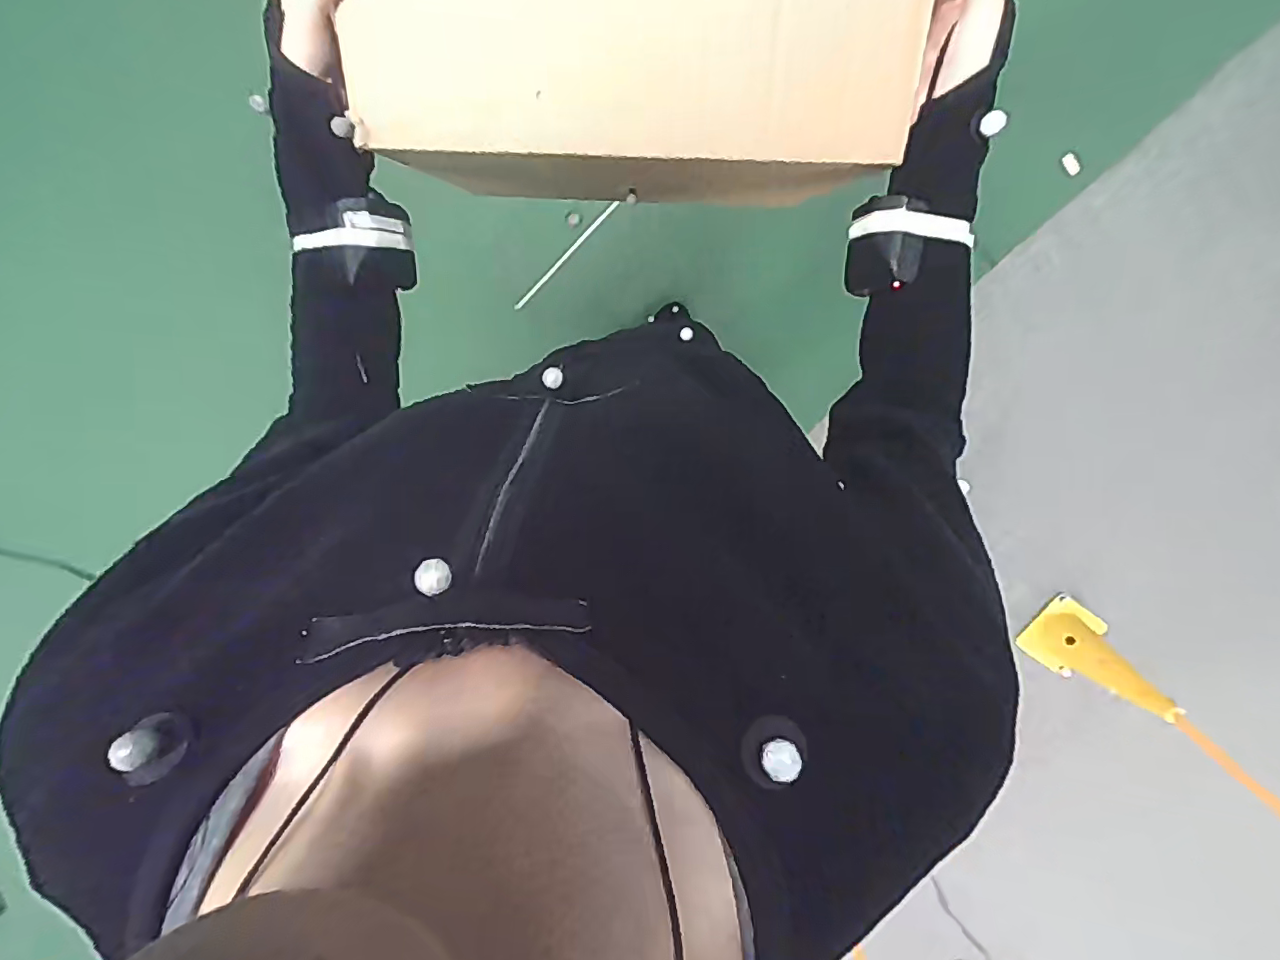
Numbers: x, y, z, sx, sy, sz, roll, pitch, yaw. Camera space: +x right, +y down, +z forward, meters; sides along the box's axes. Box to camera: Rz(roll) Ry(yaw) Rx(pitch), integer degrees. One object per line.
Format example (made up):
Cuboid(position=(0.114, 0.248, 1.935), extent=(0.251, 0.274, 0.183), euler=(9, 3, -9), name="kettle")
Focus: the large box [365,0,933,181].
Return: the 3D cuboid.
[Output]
Cuboid(position=(0.011, -0.459, 0.484), extent=(0.408, 0.320, 0.320), euler=(2, 113, 0), name="large box")
